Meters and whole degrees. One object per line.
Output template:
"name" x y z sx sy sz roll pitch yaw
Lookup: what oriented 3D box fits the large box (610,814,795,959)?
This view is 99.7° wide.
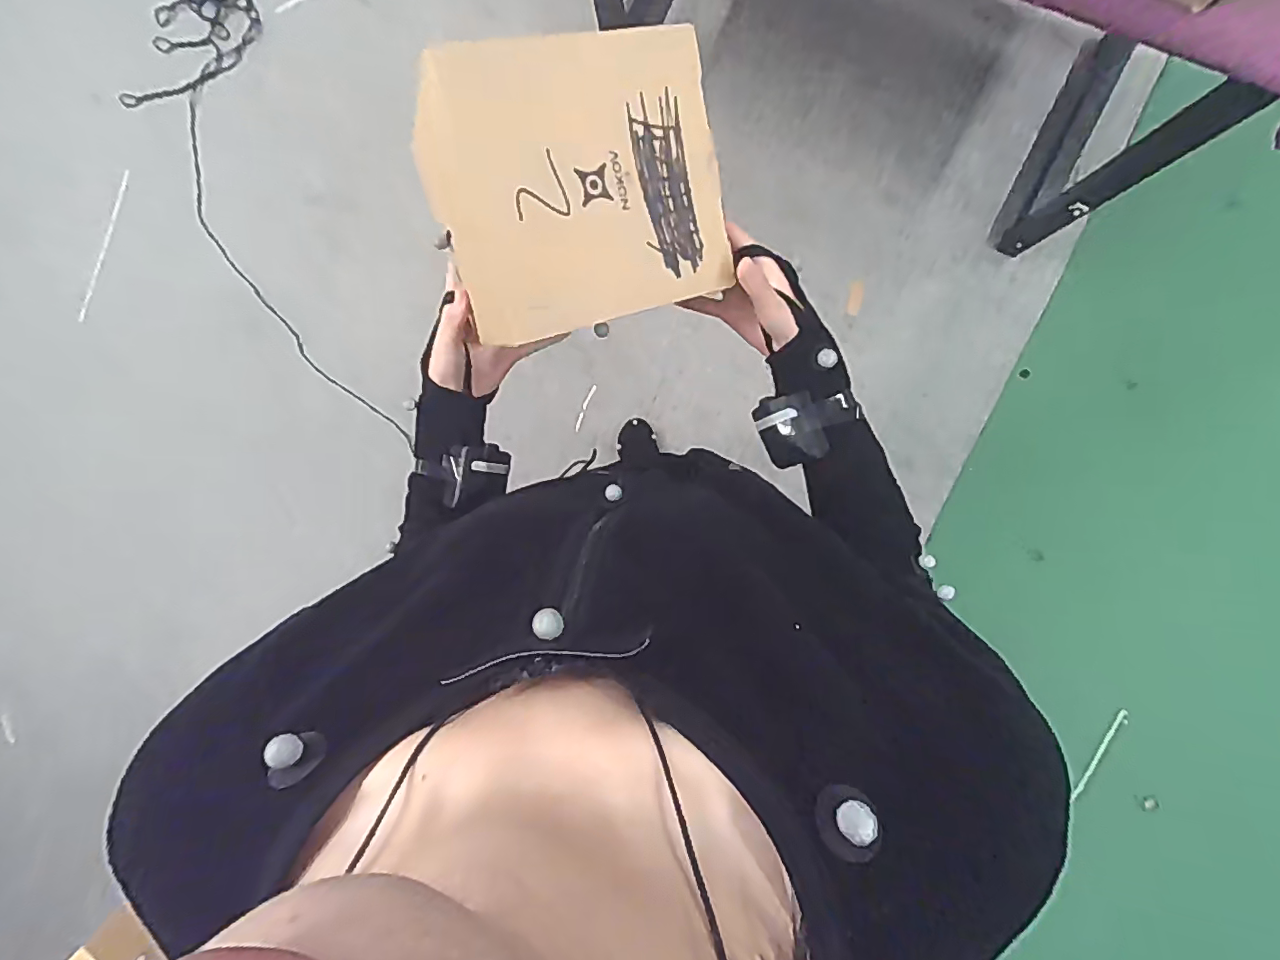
"large box" 0.142 1.140 1.401 0.408 0.320 0.320 11 94 3

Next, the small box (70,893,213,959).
"small box" -1.026 0.984 1.084 0.179 0.176 0.168 45 97 1
